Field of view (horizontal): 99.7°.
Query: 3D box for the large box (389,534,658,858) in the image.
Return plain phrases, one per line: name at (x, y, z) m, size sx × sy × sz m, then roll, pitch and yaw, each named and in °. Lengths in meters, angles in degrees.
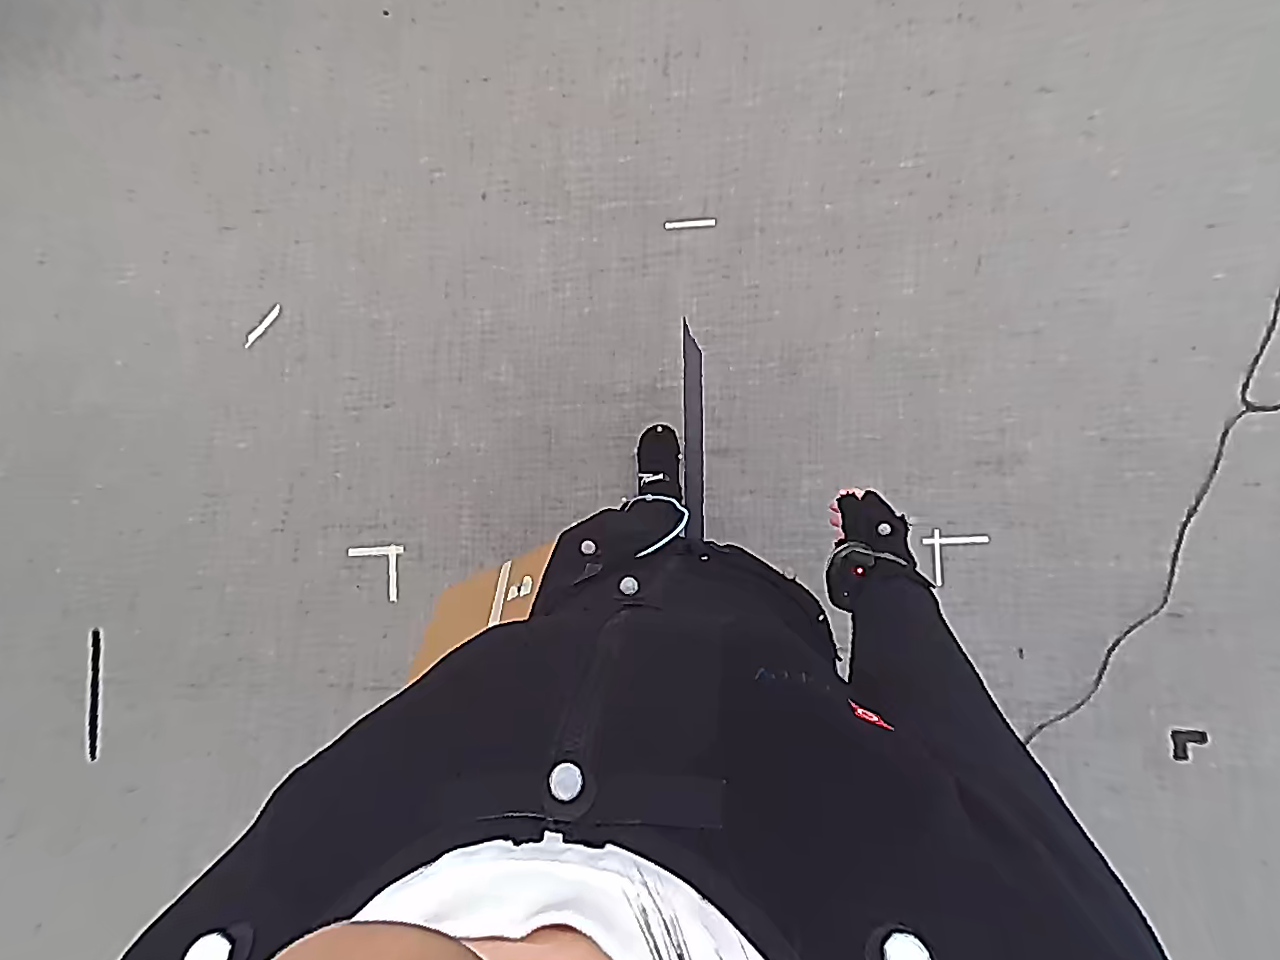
large box at (-0.183, 0.368, 1.001) m, size 0.320 × 0.408 × 0.320 m, roll -23°, pitch 111°, yaw 5°
